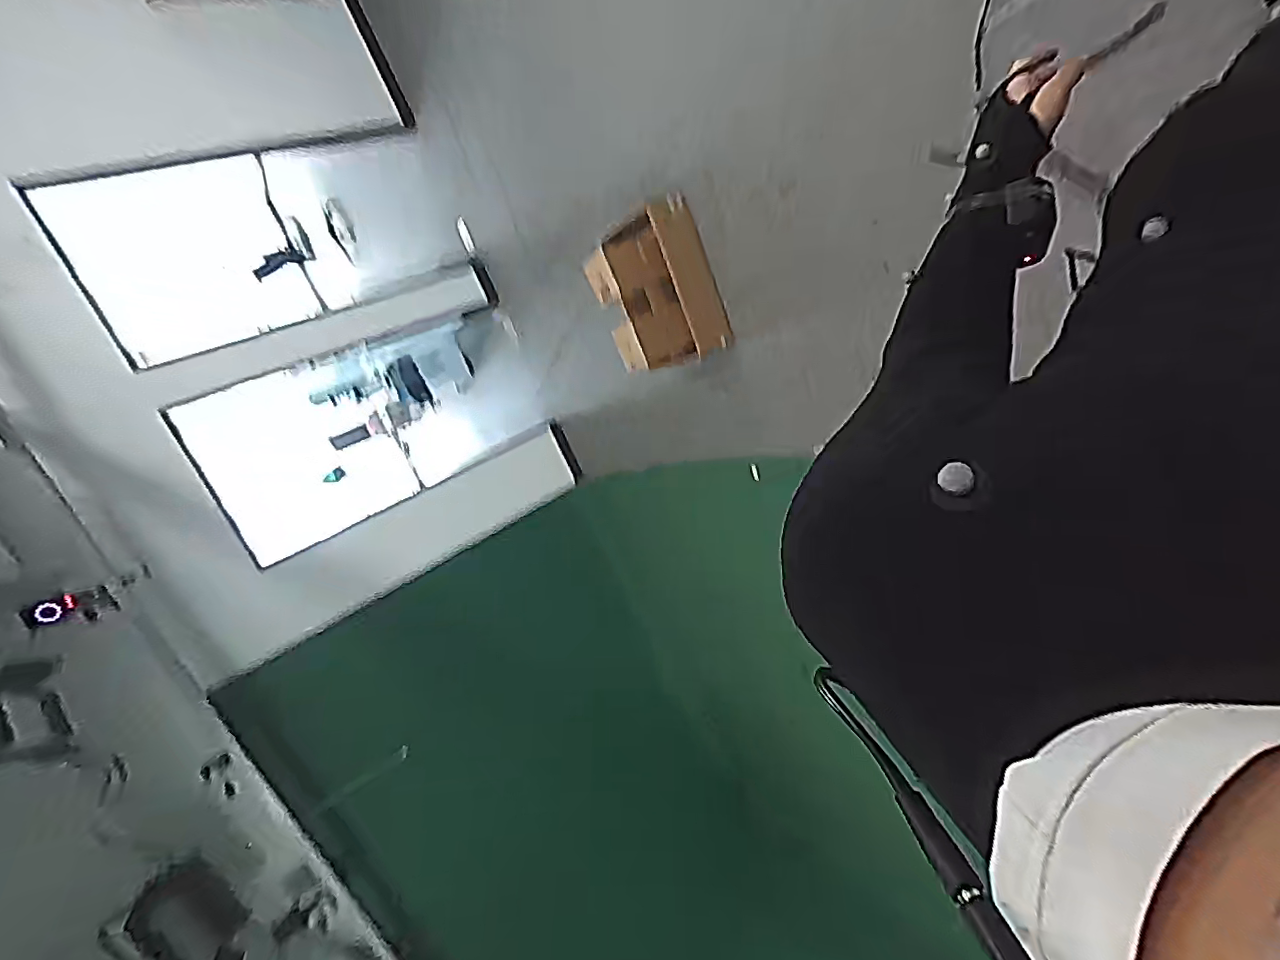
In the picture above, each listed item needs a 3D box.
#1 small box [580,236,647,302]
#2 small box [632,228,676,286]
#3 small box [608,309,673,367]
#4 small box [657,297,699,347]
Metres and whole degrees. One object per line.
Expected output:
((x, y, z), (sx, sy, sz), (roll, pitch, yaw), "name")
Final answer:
((-0.100, -0.827, 2.121), (0.168, 0.176, 0.179), (-4, 113, 58), "small box")
((0.024, -0.903, 2.199), (0.179, 0.176, 0.168), (4, 121, 57), "small box")
((0.005, -0.580, 2.189), (0.168, 0.176, 0.179), (1, 116, 59), "small box")
((0.129, -0.652, 2.270), (0.179, 0.176, 0.168), (2, 118, 58), "small box")
